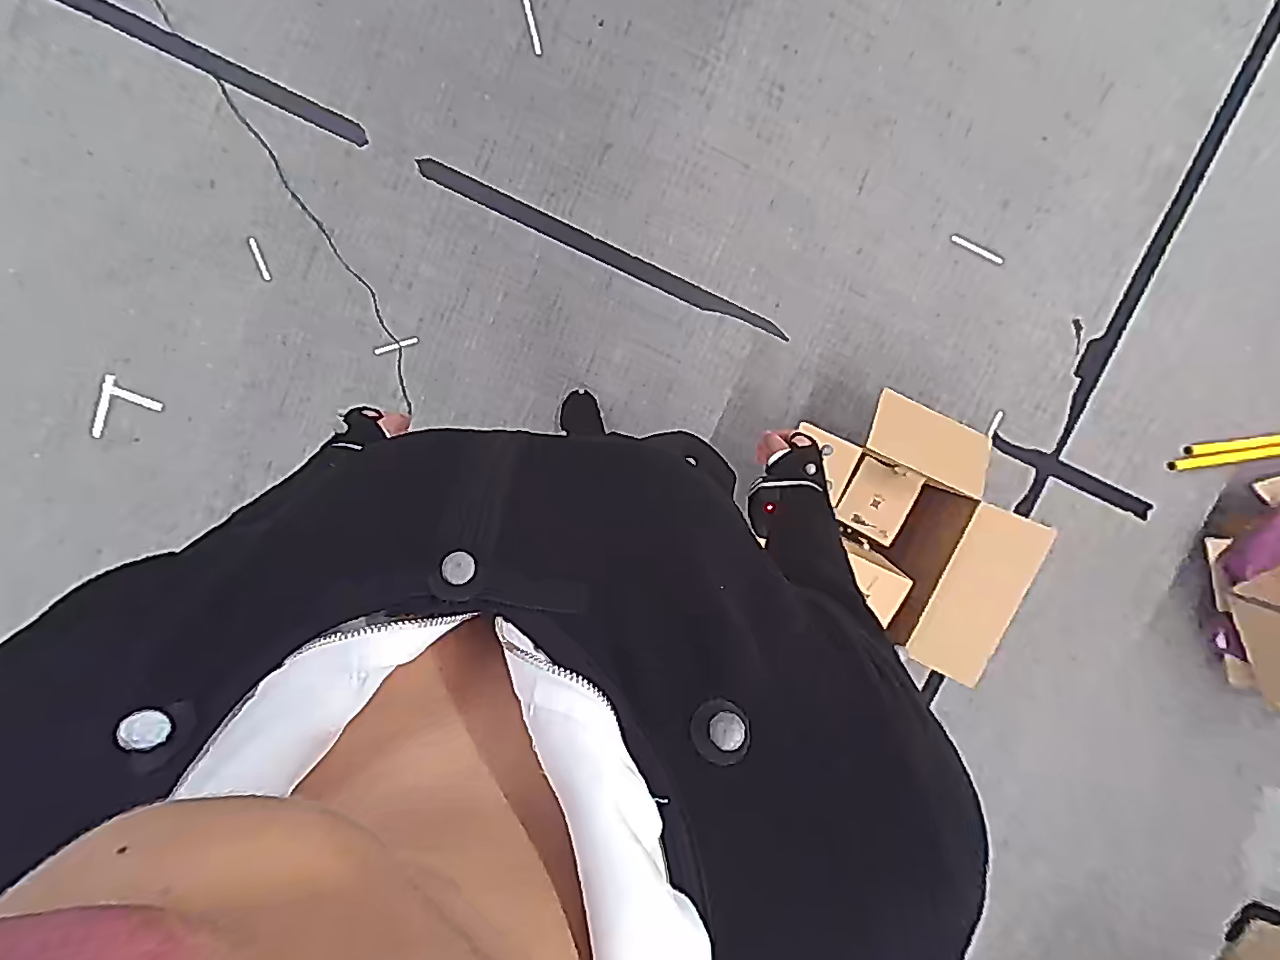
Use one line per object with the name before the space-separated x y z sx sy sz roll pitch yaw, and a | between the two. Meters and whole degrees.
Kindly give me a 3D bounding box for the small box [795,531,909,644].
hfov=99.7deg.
small box | 0.486 0.247 1.278 0.168 0.176 0.179 25 100 -6
